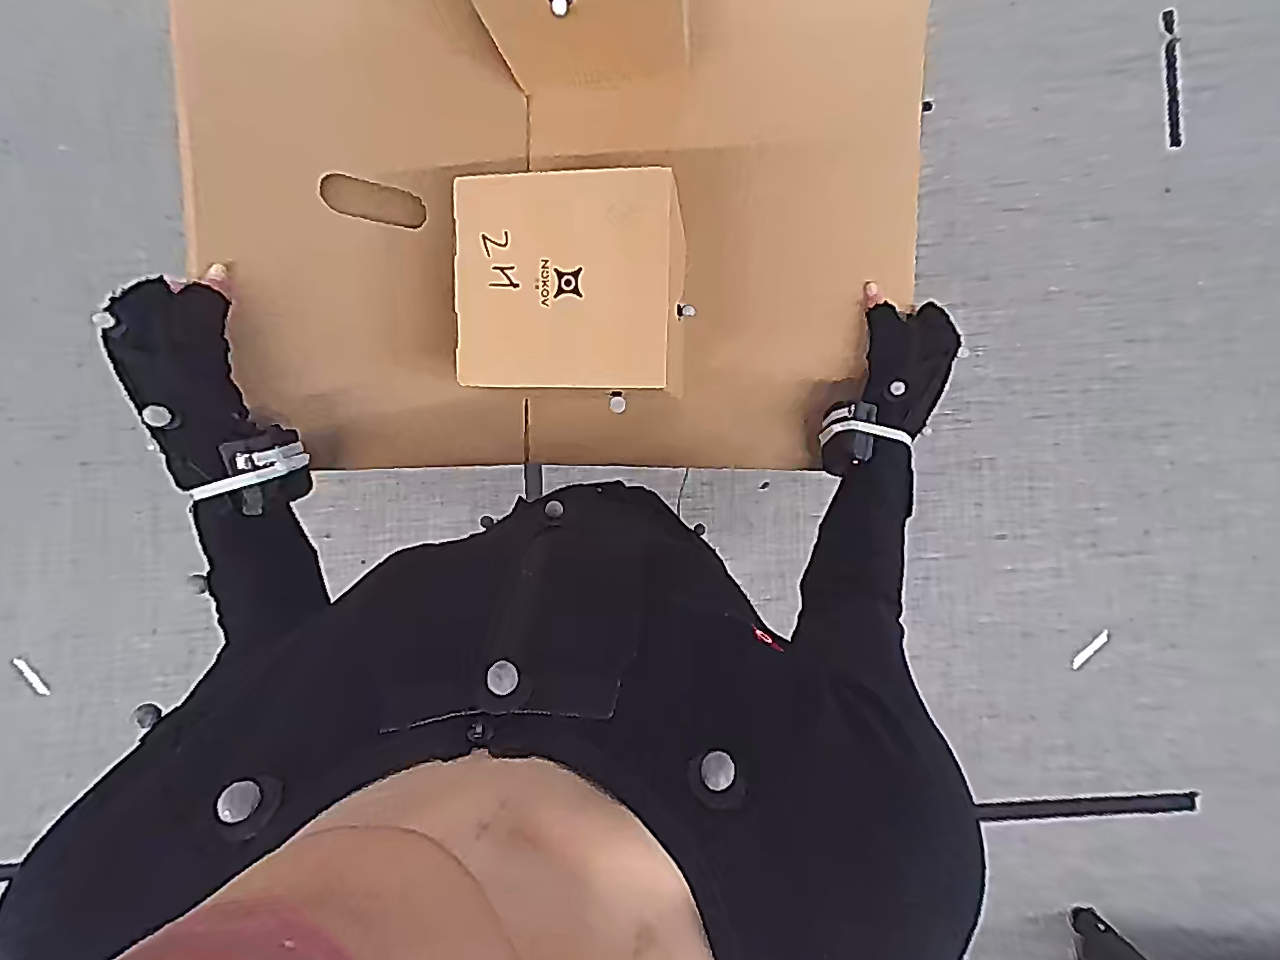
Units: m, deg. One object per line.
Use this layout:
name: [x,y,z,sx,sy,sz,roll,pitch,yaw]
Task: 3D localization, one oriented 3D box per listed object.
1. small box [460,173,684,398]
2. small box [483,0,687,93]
small box: [-0.051,-0.167,0.513,0.179,0.176,0.168,2,95,9]
small box: [-0.050,-0.484,0.485,0.179,0.176,0.168,0,95,8]
